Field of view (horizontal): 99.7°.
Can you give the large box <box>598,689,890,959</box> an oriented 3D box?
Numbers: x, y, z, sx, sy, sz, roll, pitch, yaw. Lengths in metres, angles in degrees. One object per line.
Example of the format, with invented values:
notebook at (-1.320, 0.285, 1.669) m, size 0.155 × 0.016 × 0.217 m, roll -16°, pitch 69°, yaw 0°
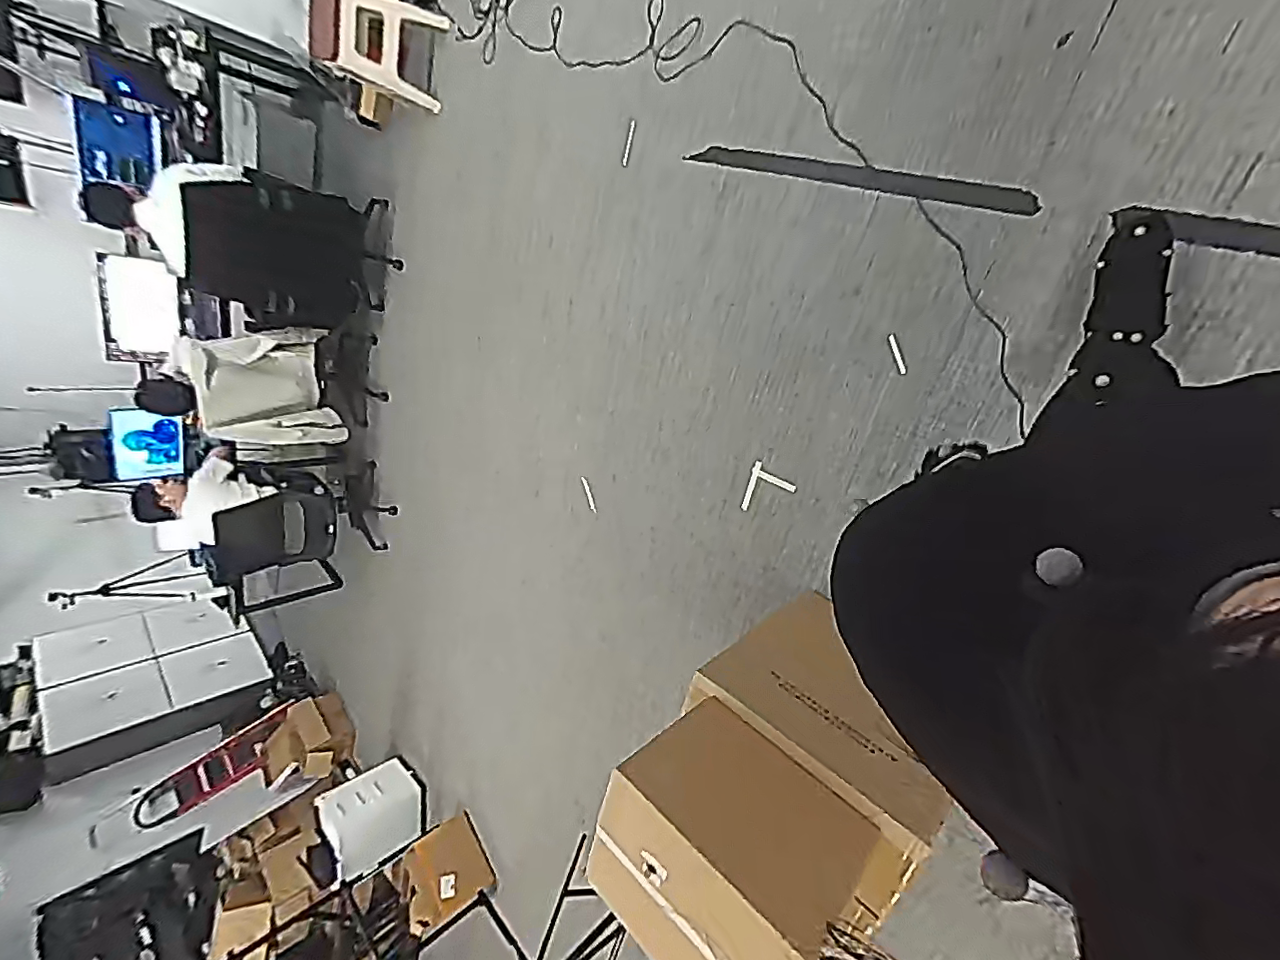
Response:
large box at (0.185, 0.691, 1.031) m, size 0.408 × 0.320 × 0.320 m, roll 29°, pitch 116°, yaw 36°
